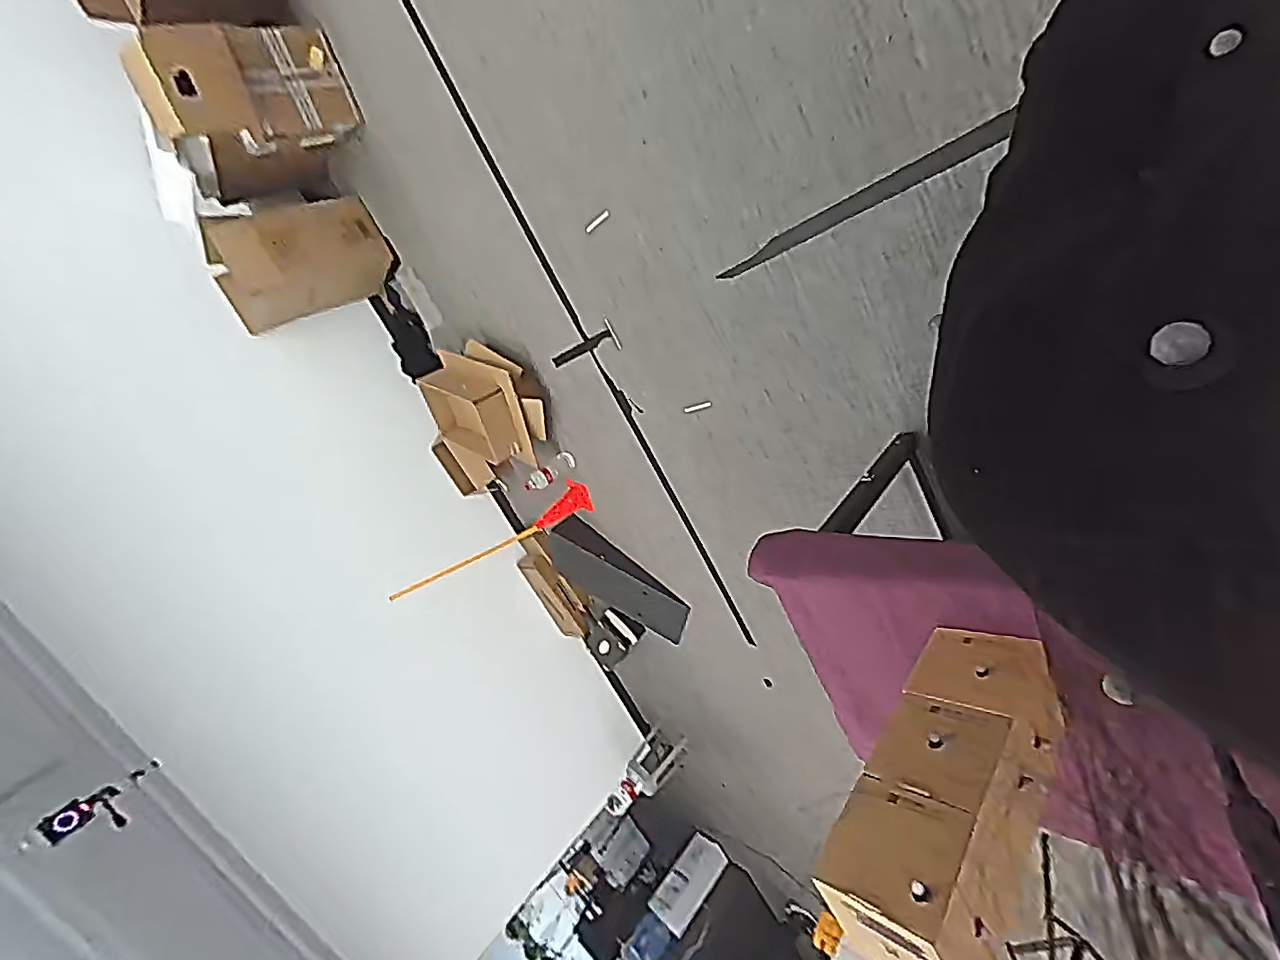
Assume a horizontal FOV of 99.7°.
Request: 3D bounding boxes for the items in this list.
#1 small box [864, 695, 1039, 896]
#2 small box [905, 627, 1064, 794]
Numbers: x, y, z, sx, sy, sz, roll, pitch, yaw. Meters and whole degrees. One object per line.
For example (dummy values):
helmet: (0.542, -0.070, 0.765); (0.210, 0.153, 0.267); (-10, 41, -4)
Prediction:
small box: (0.478, 0.464, 0.828); (0.168, 0.176, 0.179); (-7, 116, 53)
small box: (0.584, 0.374, 0.915); (0.168, 0.176, 0.179); (-8, 116, 53)
